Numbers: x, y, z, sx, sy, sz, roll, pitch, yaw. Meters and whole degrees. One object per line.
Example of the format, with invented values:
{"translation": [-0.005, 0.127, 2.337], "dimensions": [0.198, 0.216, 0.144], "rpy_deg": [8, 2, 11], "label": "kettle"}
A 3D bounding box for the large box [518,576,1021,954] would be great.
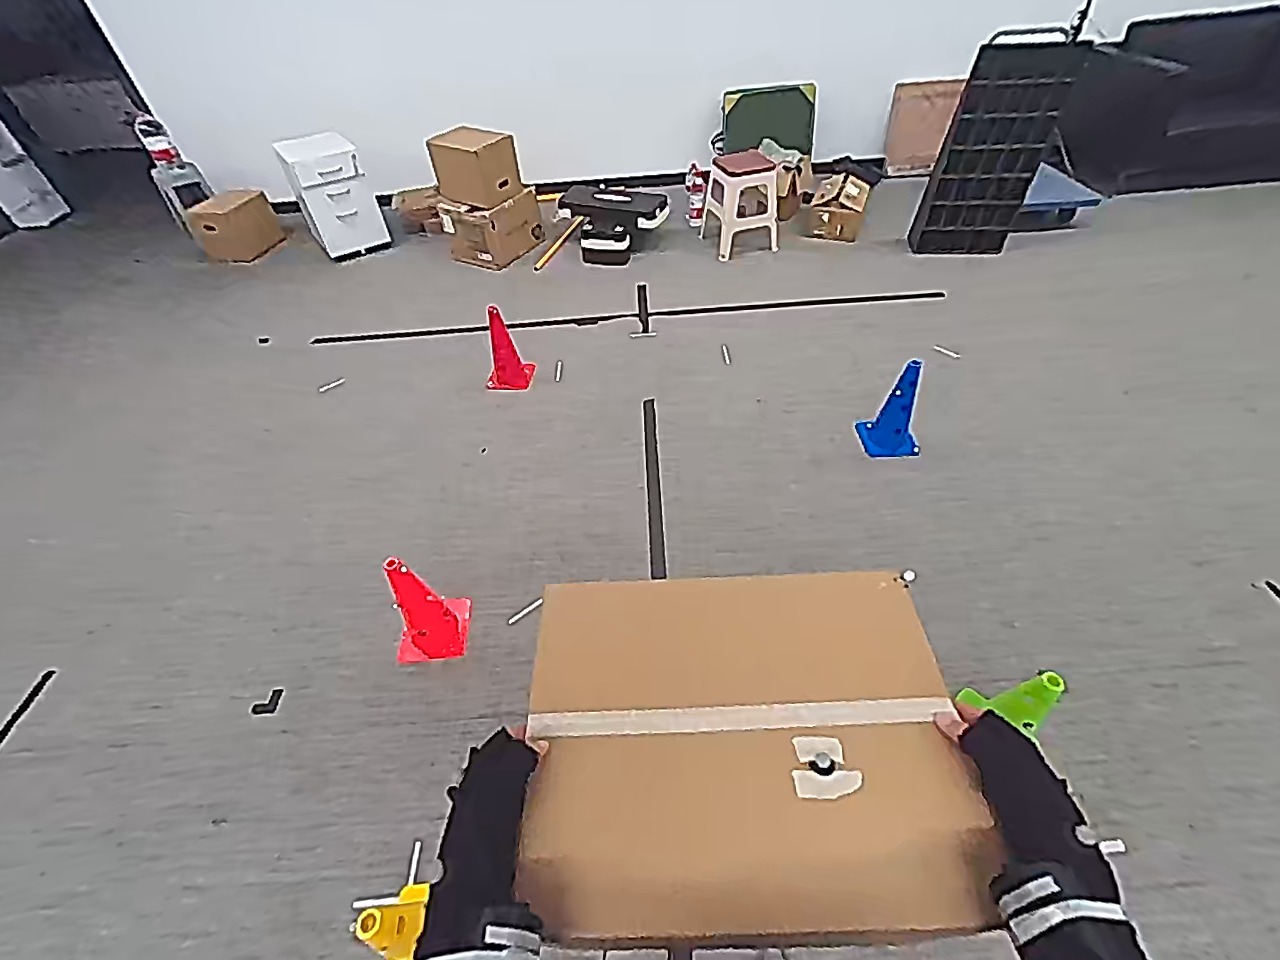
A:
{"translation": [0.101, 0.333, 0.629], "dimensions": [0.408, 0.320, 0.320], "rpy_deg": [-2, 48, 1], "label": "large box"}

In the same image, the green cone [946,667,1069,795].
{"translation": [0.864, 0.530, 1.235], "dimensions": [0.202, 0.368, 0.200], "rpy_deg": [-32, 53, -25], "label": "green cone"}

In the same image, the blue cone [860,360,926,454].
{"translation": [0.973, -0.281, 2.016], "dimensions": [0.192, 0.380, 0.193], "rpy_deg": [-1, 47, 2], "label": "blue cone"}

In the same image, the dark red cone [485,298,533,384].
{"translation": [-0.616, -0.620, 2.406], "dimensions": [0.201, 0.394, 0.202], "rpy_deg": [1, 47, 4], "label": "dark red cone"}

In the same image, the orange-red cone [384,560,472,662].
{"translation": [-0.633, 0.342, 1.532], "dimensions": [0.198, 0.360, 0.199], "rpy_deg": [-6, 48, 0], "label": "orange-red cone"}
